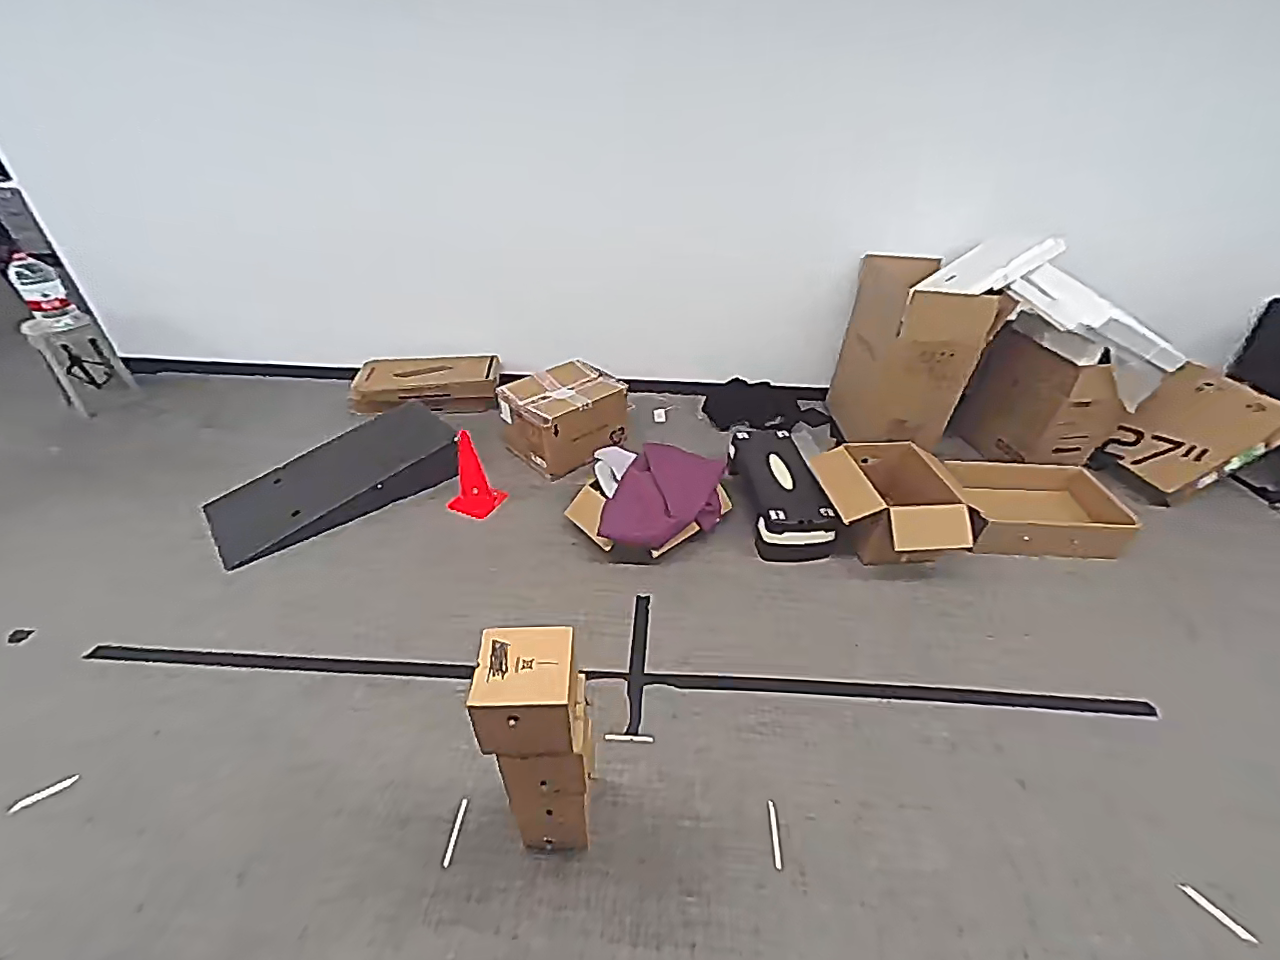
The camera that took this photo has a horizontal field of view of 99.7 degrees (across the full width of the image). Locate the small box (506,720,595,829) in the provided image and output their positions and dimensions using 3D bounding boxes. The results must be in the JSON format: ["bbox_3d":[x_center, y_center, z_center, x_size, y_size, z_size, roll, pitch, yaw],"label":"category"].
[{"bbox_3d":[-0.193,0.668,1.231,0.168,0.176,0.179,1,37,1],"label":"small box"}]

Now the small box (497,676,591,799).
[{"bbox_3d":[-0.192,0.537,1.131,0.168,0.176,0.179,-2,37,-2],"label":"small box"}]

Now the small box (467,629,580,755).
[{"bbox_3d":[-0.211,0.405,1.032,0.179,0.176,0.168,-1,37,-2],"label":"small box"}]

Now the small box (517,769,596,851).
[{"bbox_3d":[-0.199,0.789,1.343,0.168,0.176,0.179,0,38,1],"label":"small box"}]
